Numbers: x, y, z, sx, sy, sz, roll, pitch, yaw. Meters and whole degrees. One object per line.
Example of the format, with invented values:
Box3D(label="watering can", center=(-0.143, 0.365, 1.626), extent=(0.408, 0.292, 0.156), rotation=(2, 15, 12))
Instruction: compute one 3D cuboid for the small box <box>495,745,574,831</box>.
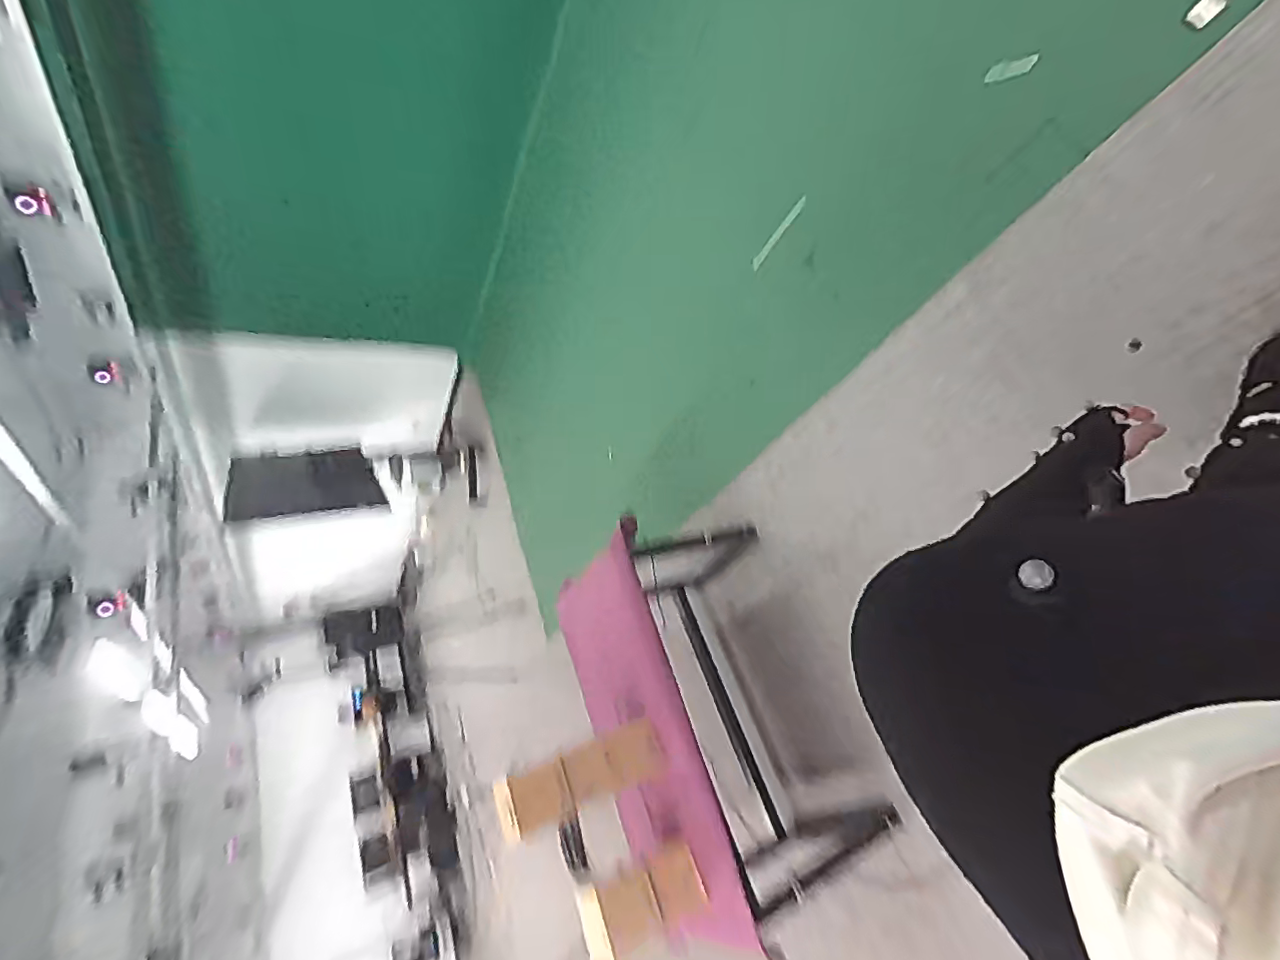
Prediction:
Box3D(label="small box", center=(-0.308, 0.905, 1.592), extent=(0.179, 0.176, 0.168), rotation=(-54, 51, 47))

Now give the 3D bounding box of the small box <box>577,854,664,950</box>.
Box3D(label="small box", center=(-0.057, 1.205, 1.556), extent=(0.179, 0.176, 0.168), rotation=(-53, 51, 46))

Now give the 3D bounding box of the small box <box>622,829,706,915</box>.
Box3D(label="small box", center=(0.074, 1.200, 1.655), extent=(0.179, 0.176, 0.168), rotation=(-55, 50, 44))

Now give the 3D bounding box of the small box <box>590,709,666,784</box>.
Box3D(label="small box", center=(-0.040, 0.877, 1.780), extent=(0.179, 0.176, 0.168), rotation=(-52, 53, 47))
